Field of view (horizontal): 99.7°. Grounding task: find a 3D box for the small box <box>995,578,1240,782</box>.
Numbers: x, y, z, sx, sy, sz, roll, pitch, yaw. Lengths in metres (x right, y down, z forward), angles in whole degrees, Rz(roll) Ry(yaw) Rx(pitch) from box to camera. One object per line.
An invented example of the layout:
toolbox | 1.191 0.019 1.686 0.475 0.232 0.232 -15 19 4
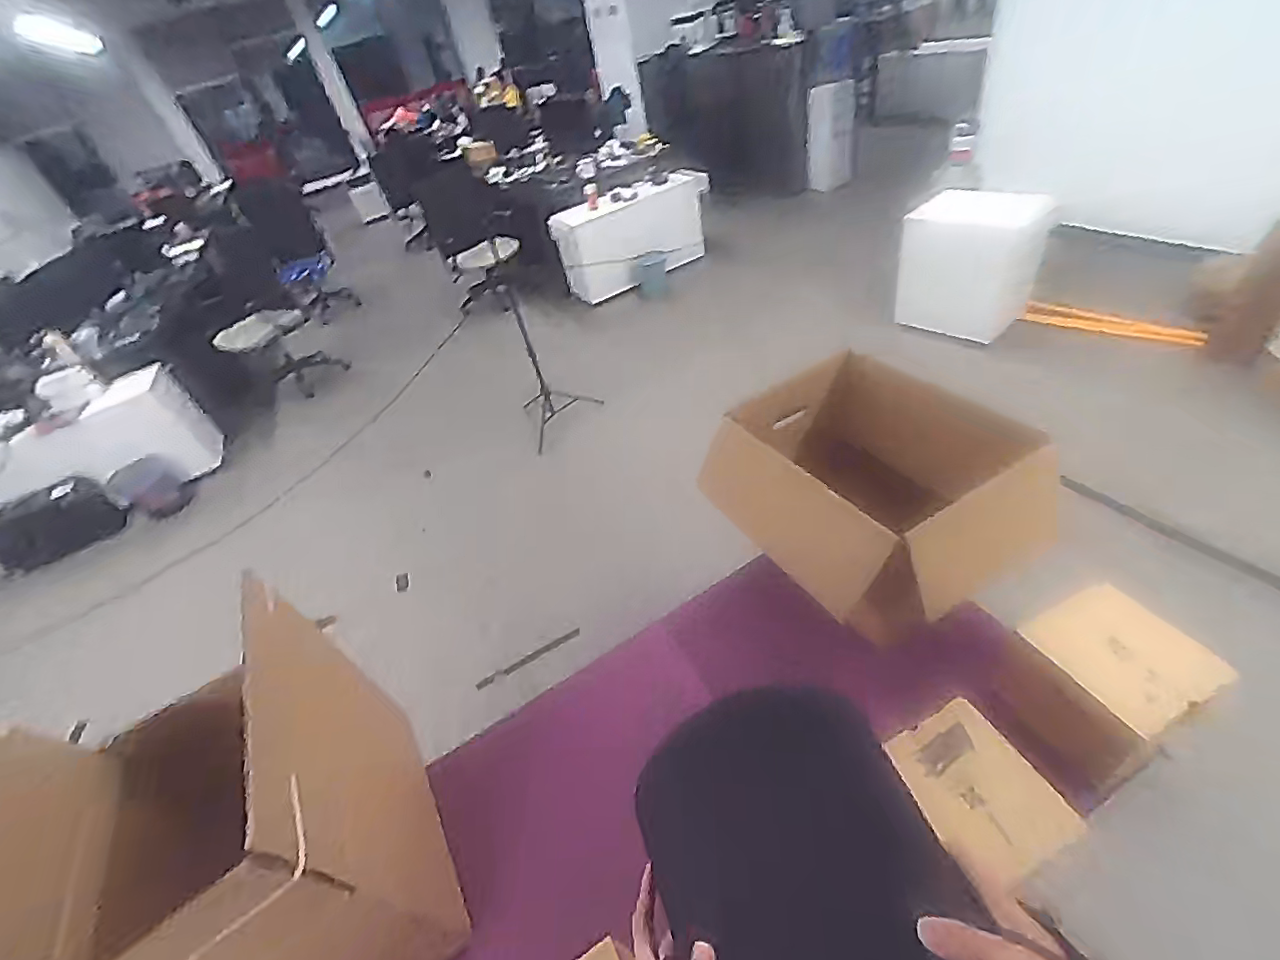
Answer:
small box | 0.641 0.278 0.757 0.168 0.176 0.179 -25 41 -9
